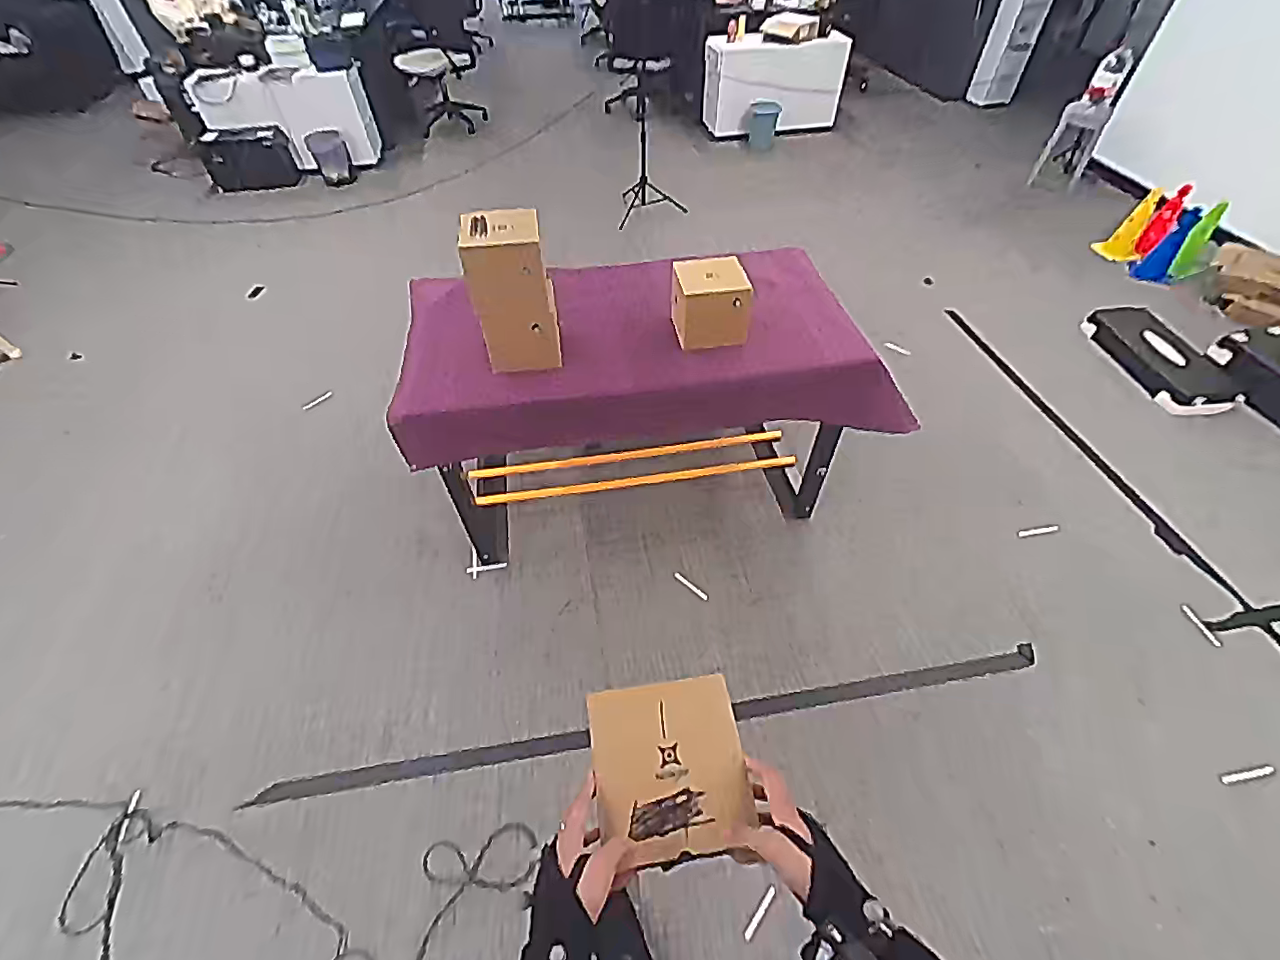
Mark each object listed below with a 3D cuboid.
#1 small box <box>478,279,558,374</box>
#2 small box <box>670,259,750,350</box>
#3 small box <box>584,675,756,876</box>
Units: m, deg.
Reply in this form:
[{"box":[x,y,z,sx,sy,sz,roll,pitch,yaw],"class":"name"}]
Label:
[{"box":[-0.303,-0.388,1.375,0.179,0.176,0.168,-6,50,-5],"class":"small box"},{"box":[0.177,-0.459,1.430,0.179,0.176,0.168,-7,50,-5],"class":"small box"},{"box":[0.025,0.354,0.648,0.168,0.176,0.179,-6,54,-7],"class":"small box"}]
